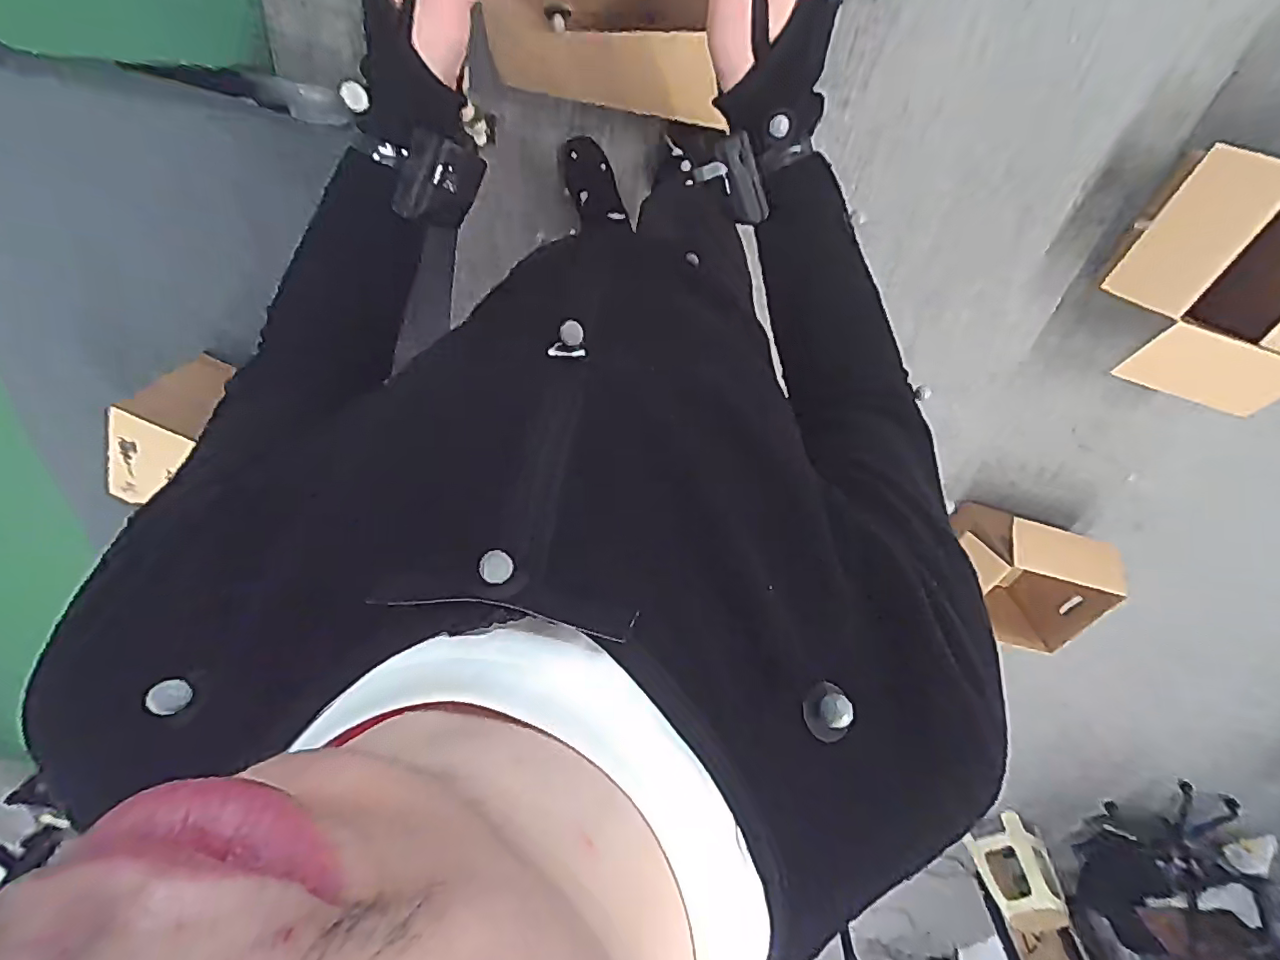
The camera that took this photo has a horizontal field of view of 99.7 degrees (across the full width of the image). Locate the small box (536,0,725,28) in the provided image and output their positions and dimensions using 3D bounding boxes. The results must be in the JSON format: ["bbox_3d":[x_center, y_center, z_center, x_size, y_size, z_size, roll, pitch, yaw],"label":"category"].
[{"bbox_3d":[-0.013,-0.452,0.368,0.168,0.176,0.179,5,103,4],"label":"small box"}]
